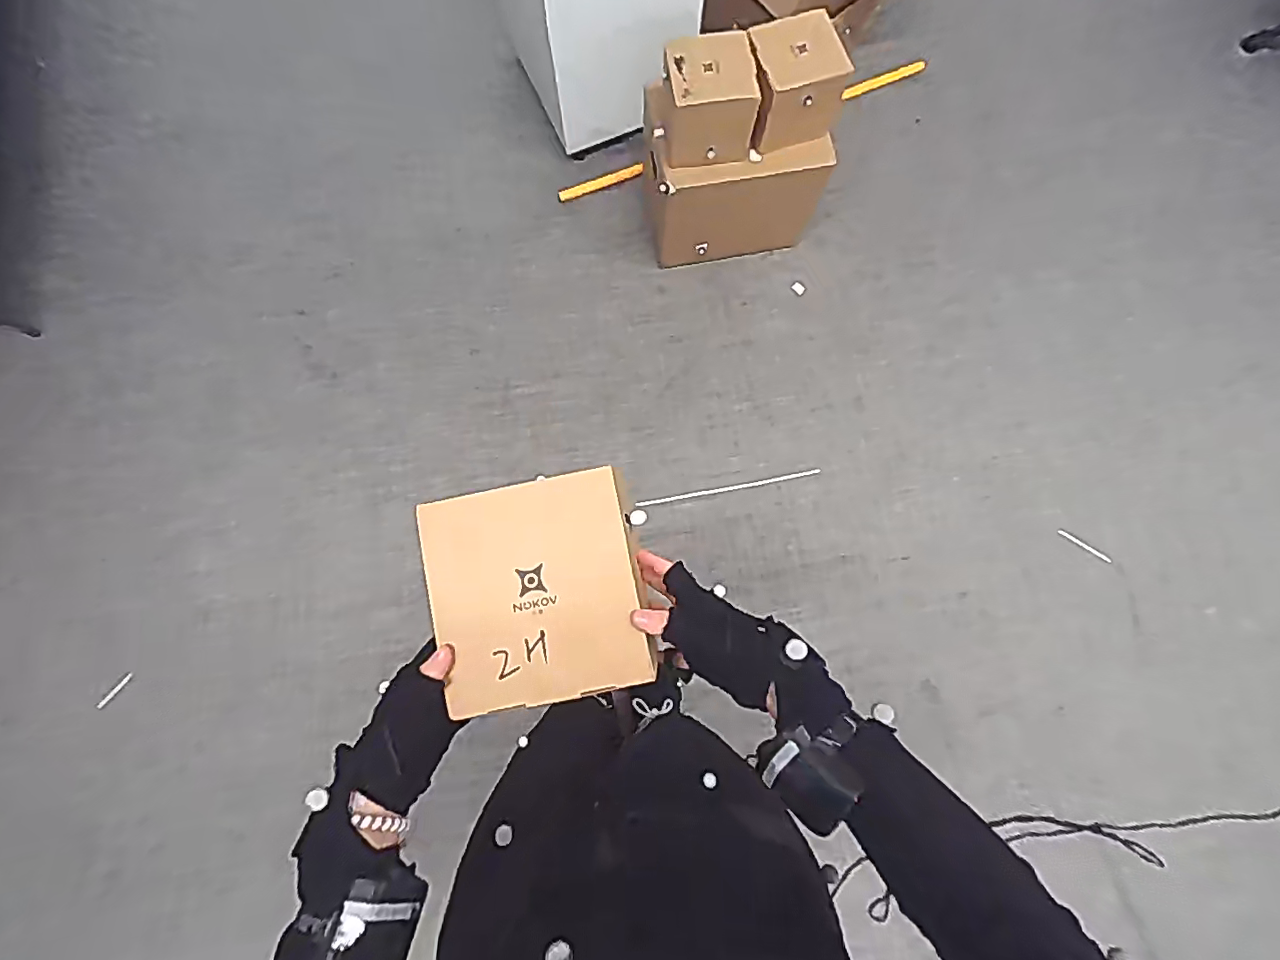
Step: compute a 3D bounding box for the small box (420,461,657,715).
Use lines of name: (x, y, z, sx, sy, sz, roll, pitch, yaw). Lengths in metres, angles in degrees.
small box: (-0.080, 0.092, 0.504, 0.168, 0.176, 0.179, -11, 84, 2)
